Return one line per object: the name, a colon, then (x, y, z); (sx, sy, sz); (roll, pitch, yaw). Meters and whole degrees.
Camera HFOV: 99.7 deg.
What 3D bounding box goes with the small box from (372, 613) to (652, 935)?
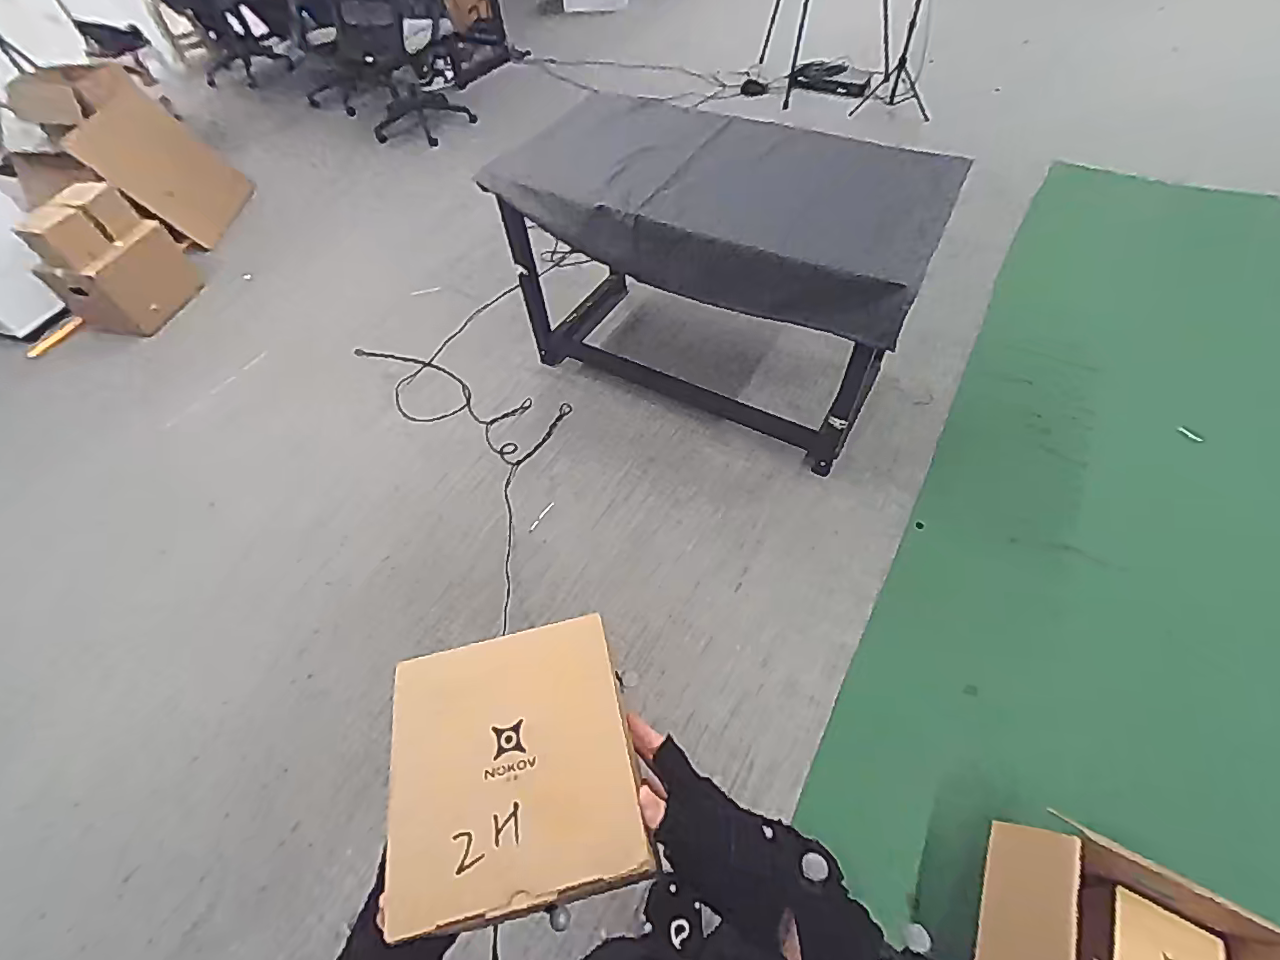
small box: (-0.091, 0.238, 0.440); (0.168, 0.176, 0.179); (-13, 52, -4)
